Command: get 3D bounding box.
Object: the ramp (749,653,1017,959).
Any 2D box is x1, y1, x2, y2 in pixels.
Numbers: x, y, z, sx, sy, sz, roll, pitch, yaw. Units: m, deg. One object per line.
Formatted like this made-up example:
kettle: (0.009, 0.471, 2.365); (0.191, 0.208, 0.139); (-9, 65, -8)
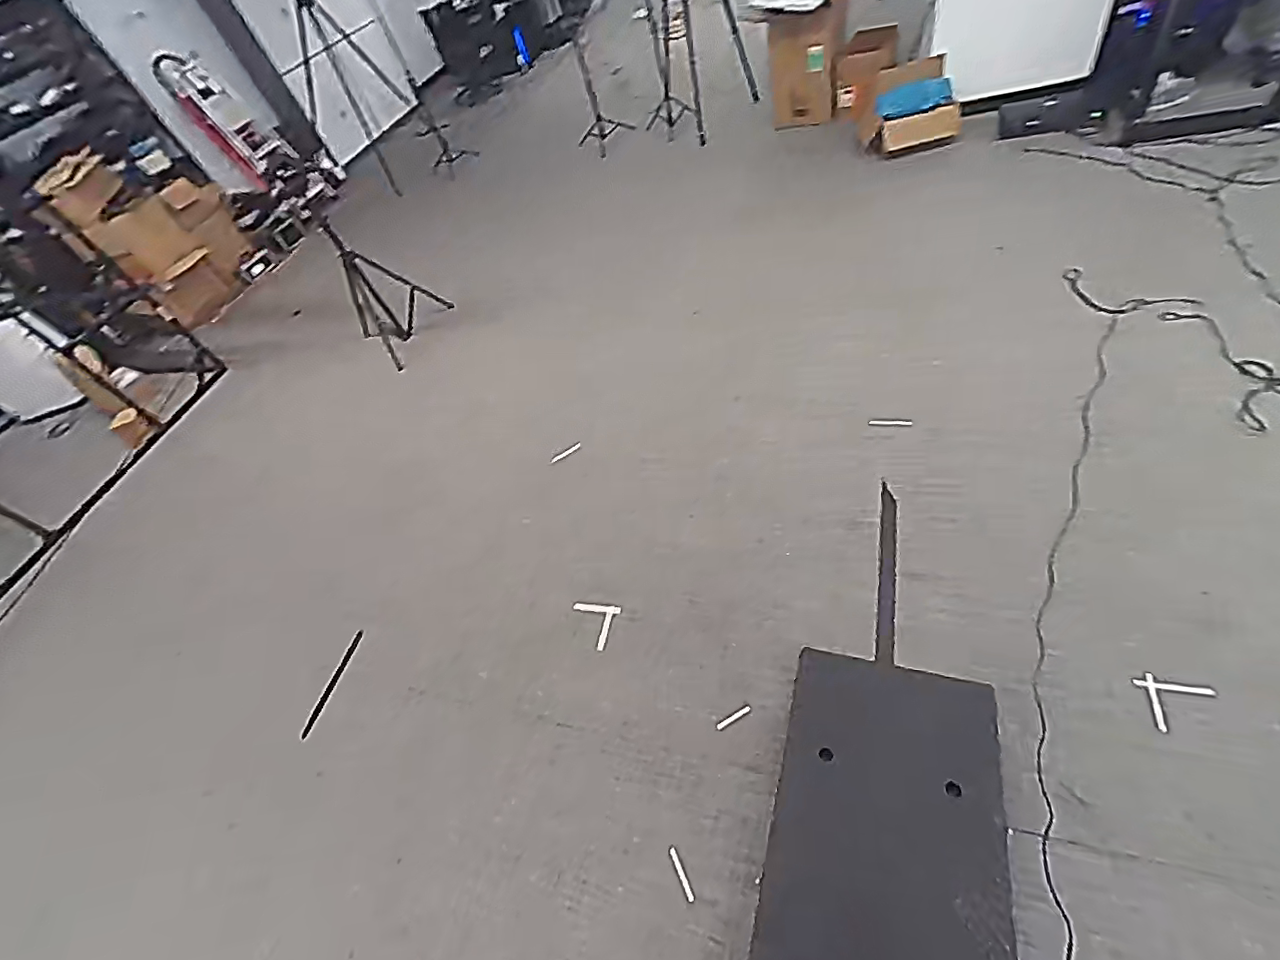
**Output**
ramp: (0.526, 0.860, 1.183); (0.509, 0.206, 0.991); (3, 53, 23)
